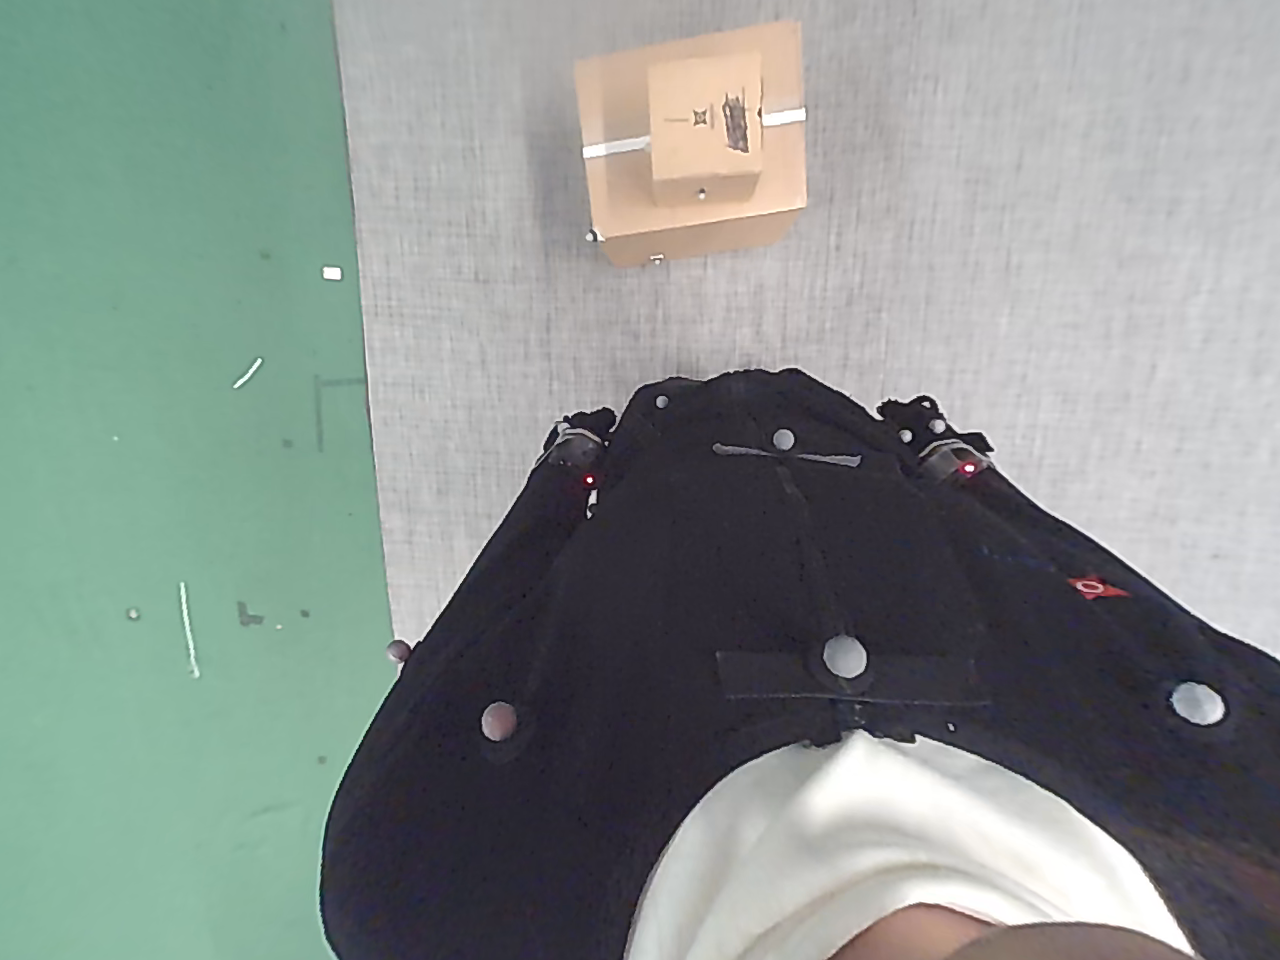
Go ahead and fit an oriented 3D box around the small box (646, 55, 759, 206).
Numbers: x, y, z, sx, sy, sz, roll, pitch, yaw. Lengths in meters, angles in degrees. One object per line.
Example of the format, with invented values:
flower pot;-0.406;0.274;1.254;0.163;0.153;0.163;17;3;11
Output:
small box;0.105;-0.583;0.924;0.179;0.176;0.168;-1;102;6
